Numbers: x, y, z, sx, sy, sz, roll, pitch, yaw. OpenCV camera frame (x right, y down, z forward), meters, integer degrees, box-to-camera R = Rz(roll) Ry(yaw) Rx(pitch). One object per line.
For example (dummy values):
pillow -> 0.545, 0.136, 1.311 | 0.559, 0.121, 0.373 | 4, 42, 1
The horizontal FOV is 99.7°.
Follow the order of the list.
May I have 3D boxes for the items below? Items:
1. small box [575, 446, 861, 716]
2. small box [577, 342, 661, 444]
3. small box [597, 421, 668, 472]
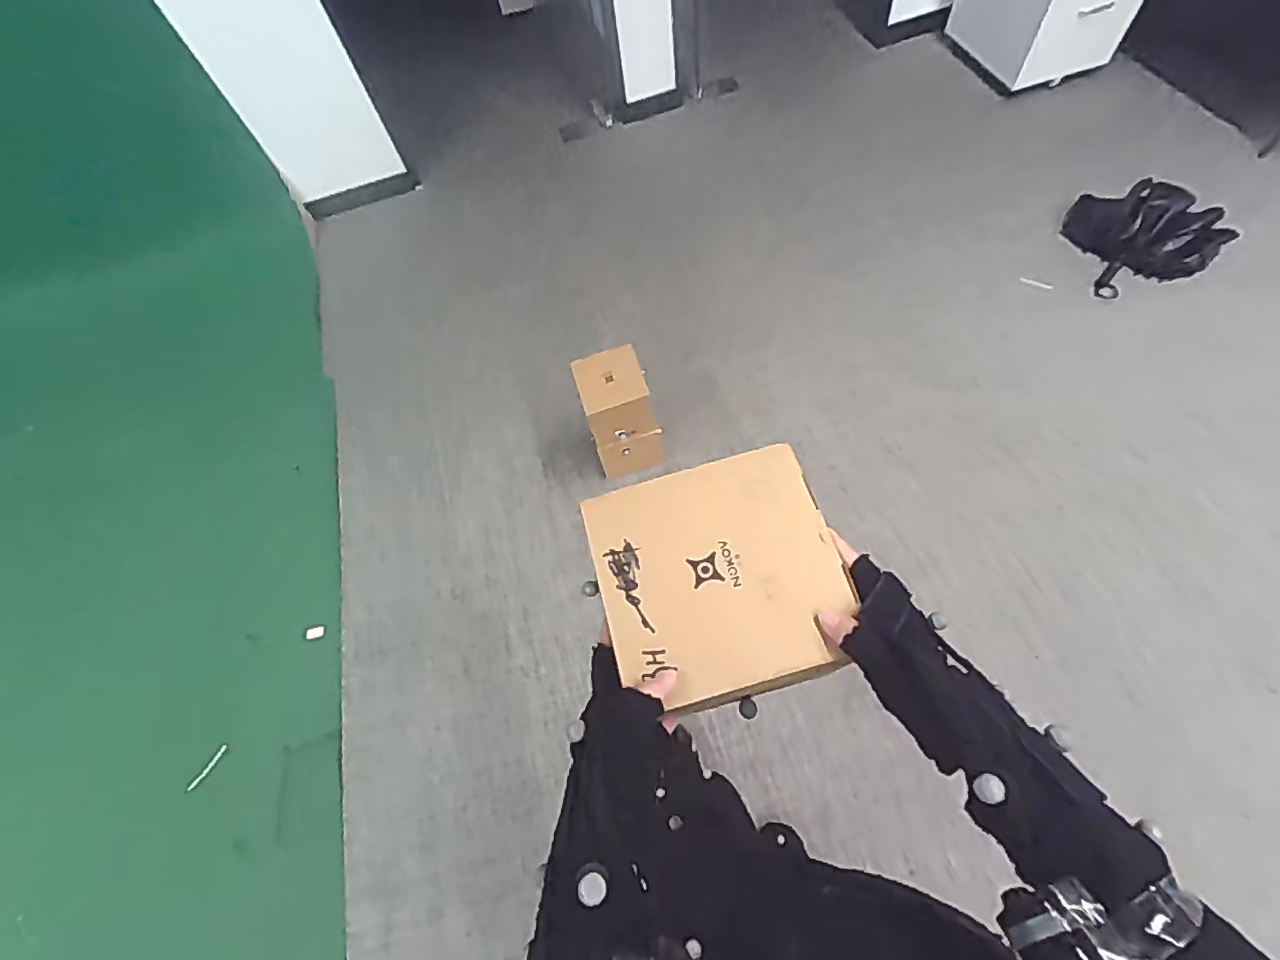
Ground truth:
small box -> 0.056, 0.097, 0.468 | 0.179, 0.176, 0.168 | -15, 63, 0
small box -> -0.051, -0.222, 1.411 | 0.168, 0.176, 0.179 | -19, 64, 1
small box -> -0.027, -0.143, 1.550 | 0.179, 0.176, 0.168 | -16, 62, 0
